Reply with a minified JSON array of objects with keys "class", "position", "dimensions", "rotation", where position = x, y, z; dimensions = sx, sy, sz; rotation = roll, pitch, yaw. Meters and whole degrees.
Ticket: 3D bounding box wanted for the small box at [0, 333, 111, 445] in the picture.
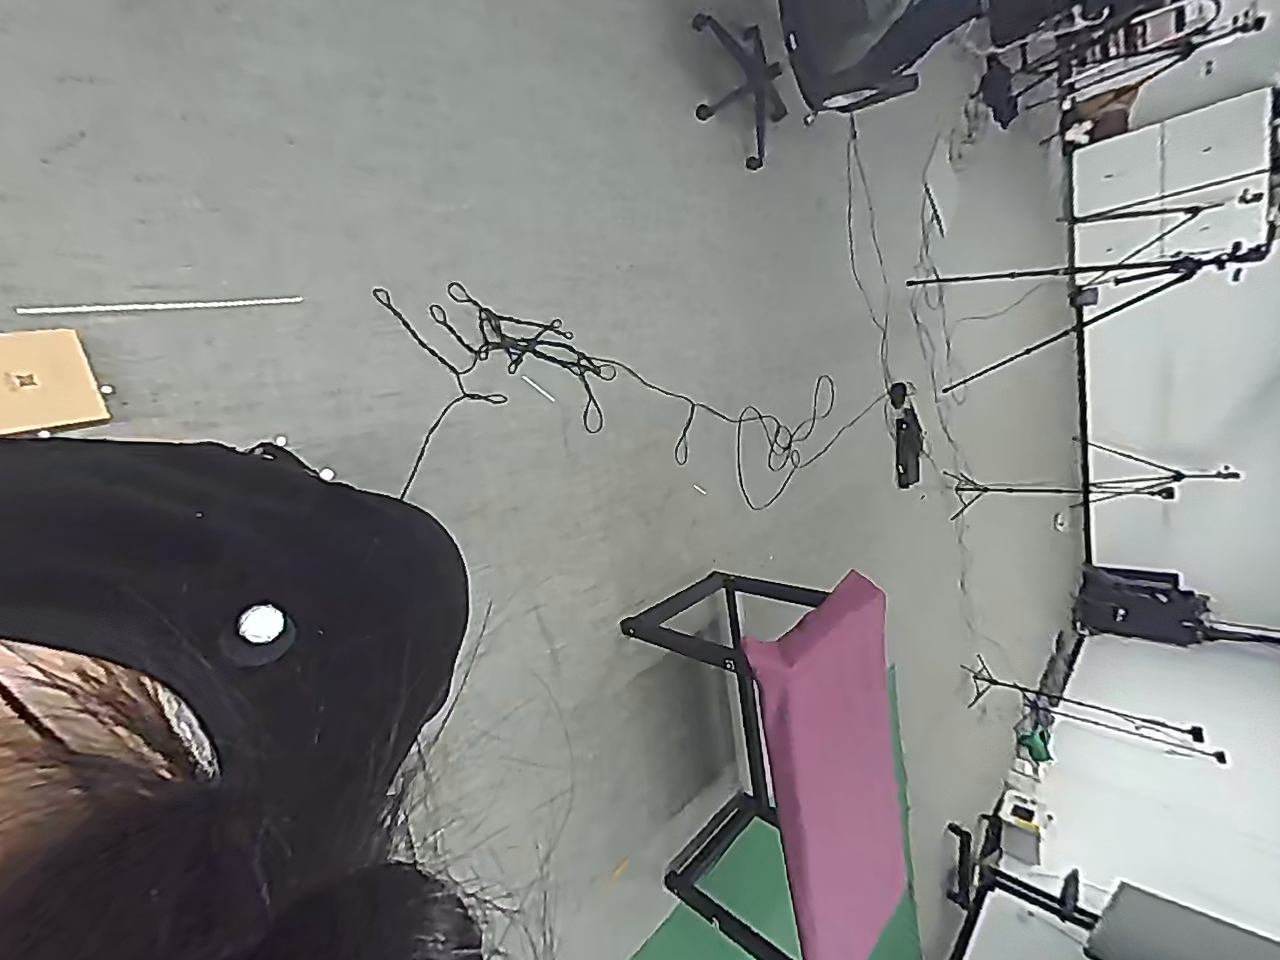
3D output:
[{"class":"small box","position":[-1.100,-0.160,0.975],"dimensions":[0.179,0.176,0.168],"rotation":[-21,105,-41]}]
